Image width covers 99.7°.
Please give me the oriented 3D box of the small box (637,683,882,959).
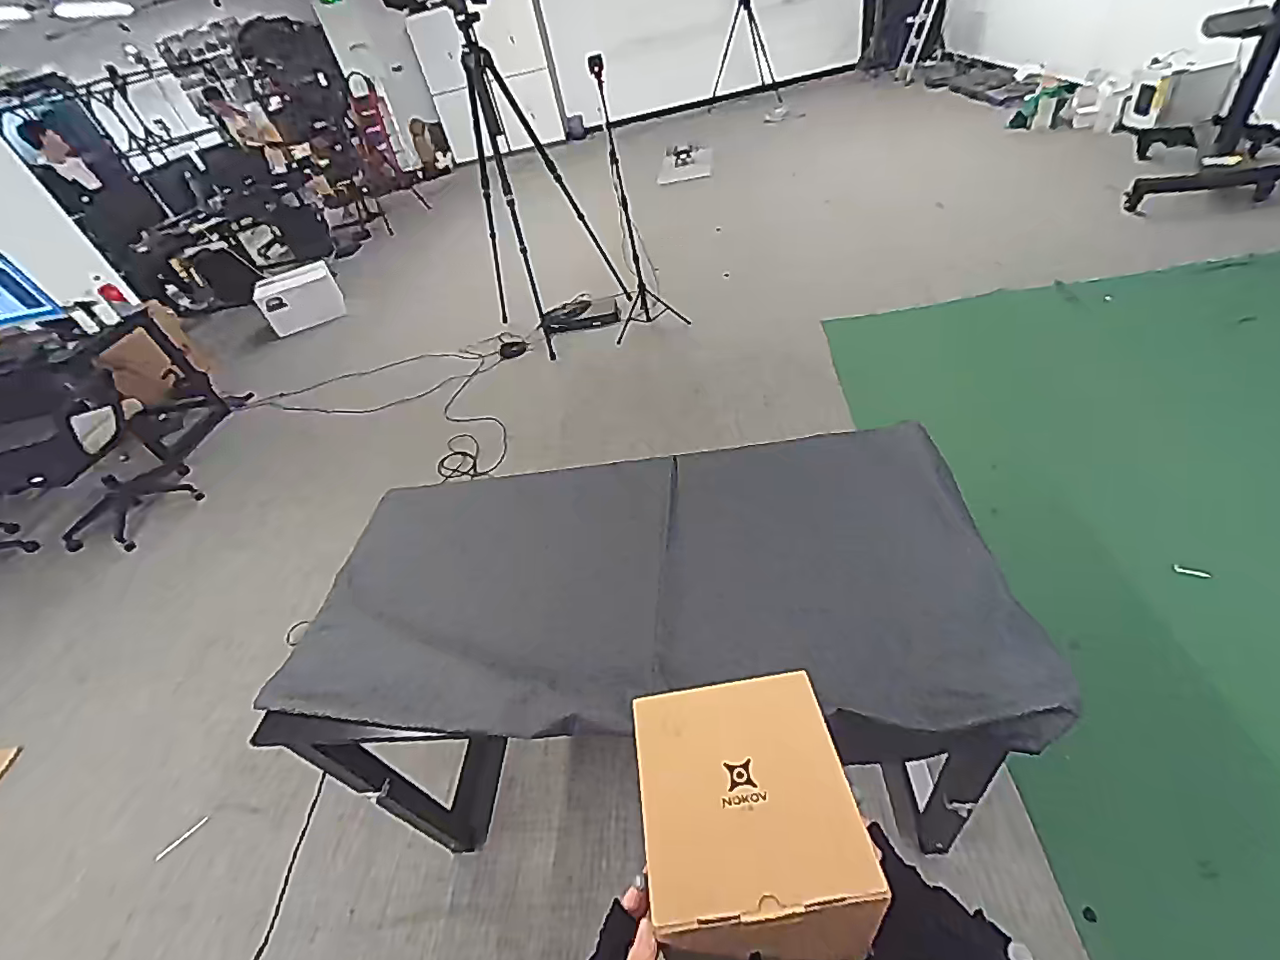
[{"bbox_3d":[0.093,0.319,0.493,0.168,0.176,0.179,-10,38,0],"label":"small box"}]
